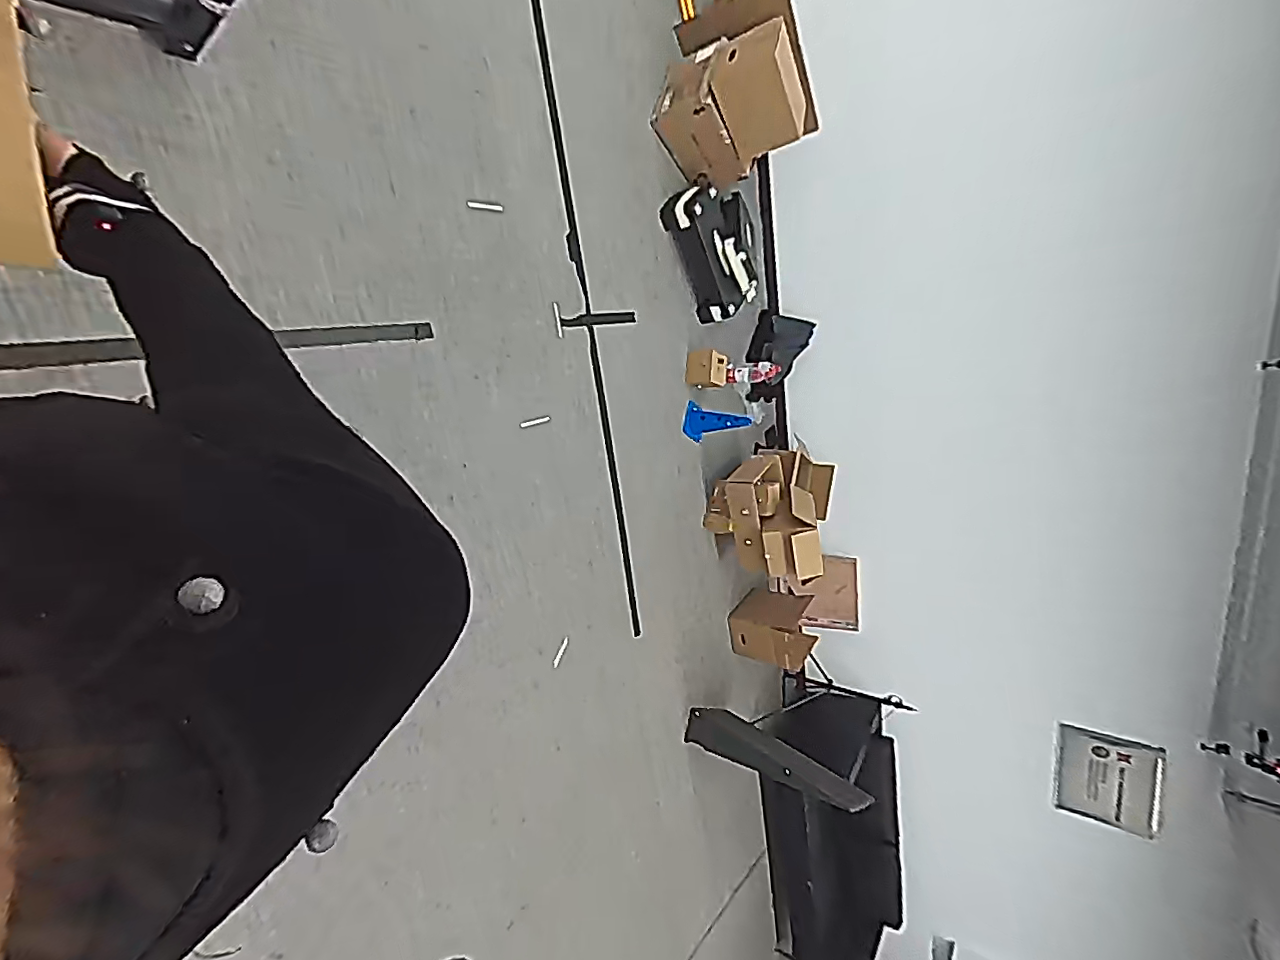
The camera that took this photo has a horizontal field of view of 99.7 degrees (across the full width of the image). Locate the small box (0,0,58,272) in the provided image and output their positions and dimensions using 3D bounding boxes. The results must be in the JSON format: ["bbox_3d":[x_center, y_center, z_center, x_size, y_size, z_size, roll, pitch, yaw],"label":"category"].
[{"bbox_3d":[-0.454,-0.225,0.297,0.168,0.176,0.179,-11,118,-46],"label":"small box"}]
